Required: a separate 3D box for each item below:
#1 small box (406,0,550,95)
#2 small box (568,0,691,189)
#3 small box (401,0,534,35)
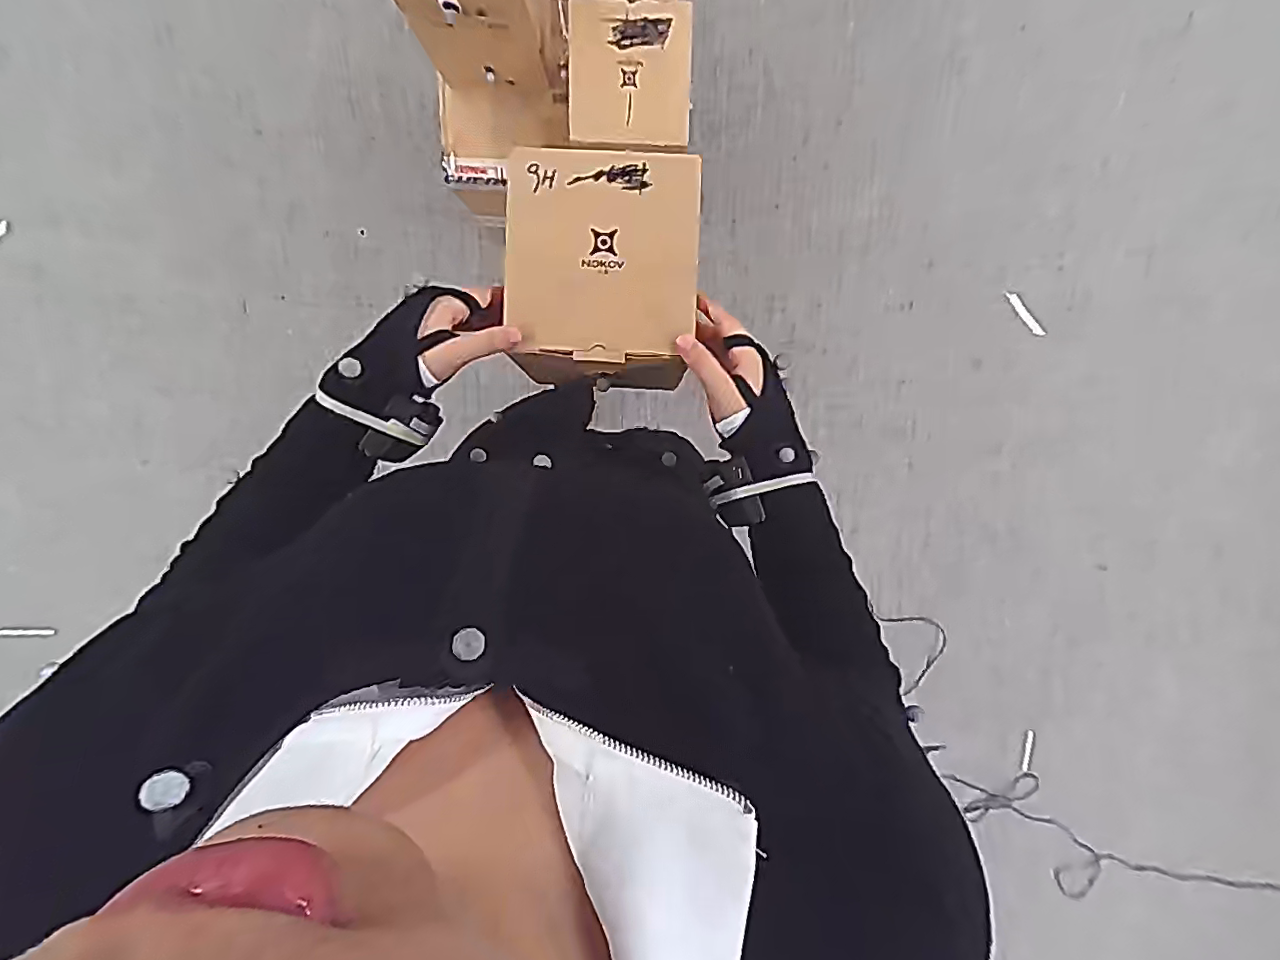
[{"bbox_3d":[-0.222,-0.691,0.771,0.168,0.176,0.179,1,102,-1],"label":"small box"},{"bbox_3d":[-0.021,-0.560,0.808,0.168,0.176,0.179,1,102,-4],"label":"small box"},{"bbox_3d":[-0.216,-0.657,0.612,0.168,0.176,0.179,1,102,-1],"label":"small box"}]
